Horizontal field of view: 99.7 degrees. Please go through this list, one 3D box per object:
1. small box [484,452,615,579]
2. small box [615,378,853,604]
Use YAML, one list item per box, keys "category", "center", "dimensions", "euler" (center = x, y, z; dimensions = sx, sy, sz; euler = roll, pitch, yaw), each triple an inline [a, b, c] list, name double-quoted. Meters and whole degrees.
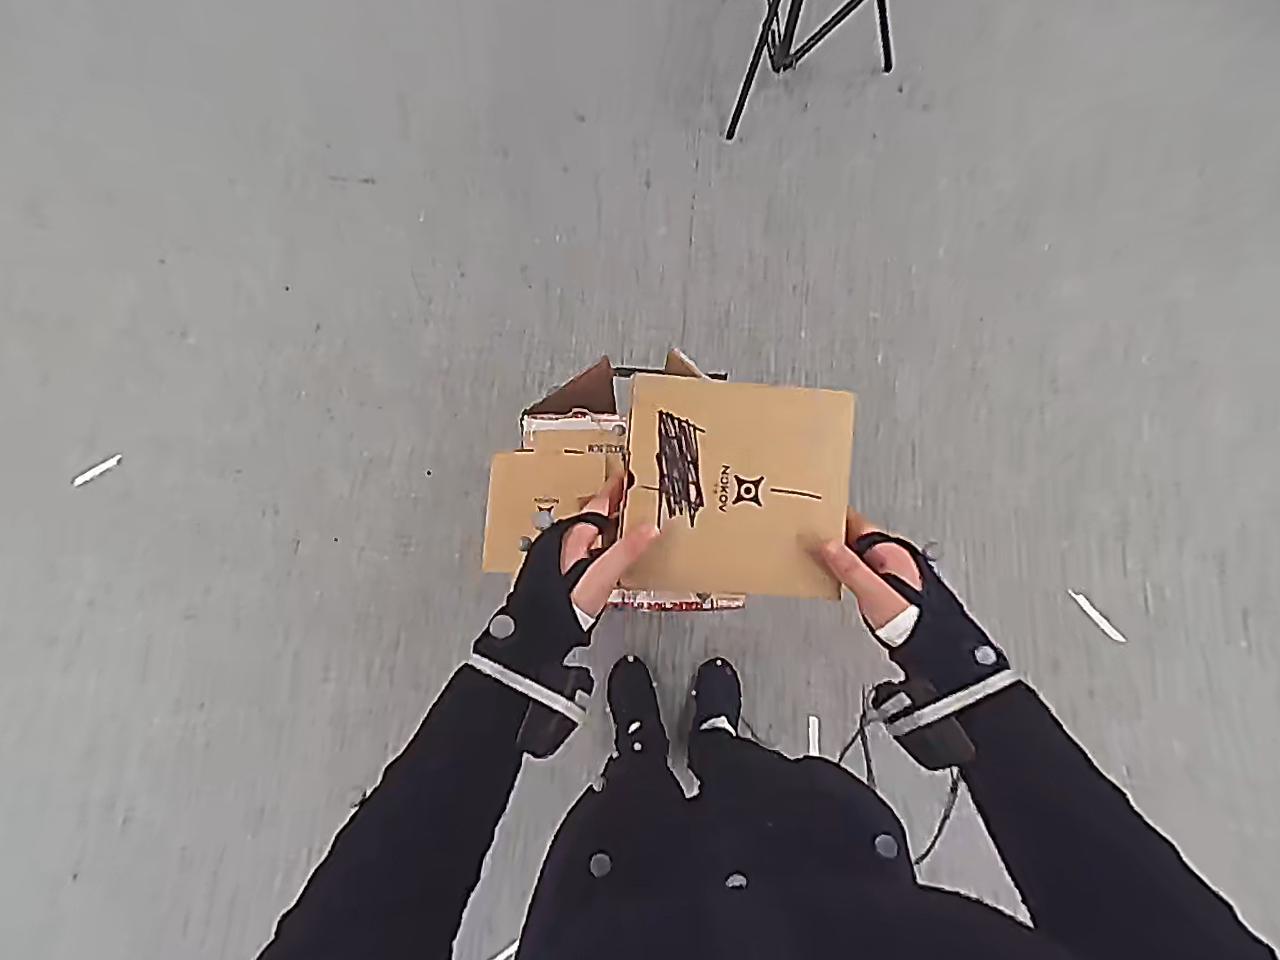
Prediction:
- category: "small box"
  center: [-0.129, 0.061, 0.839]
  dimensions: [0.168, 0.176, 0.179]
  euler: [1, 81, 3]
- category: "small box"
  center: [0.070, 0.009, 0.497]
  dimensions: [0.179, 0.176, 0.168]
  euler: [4, 91, -3]
